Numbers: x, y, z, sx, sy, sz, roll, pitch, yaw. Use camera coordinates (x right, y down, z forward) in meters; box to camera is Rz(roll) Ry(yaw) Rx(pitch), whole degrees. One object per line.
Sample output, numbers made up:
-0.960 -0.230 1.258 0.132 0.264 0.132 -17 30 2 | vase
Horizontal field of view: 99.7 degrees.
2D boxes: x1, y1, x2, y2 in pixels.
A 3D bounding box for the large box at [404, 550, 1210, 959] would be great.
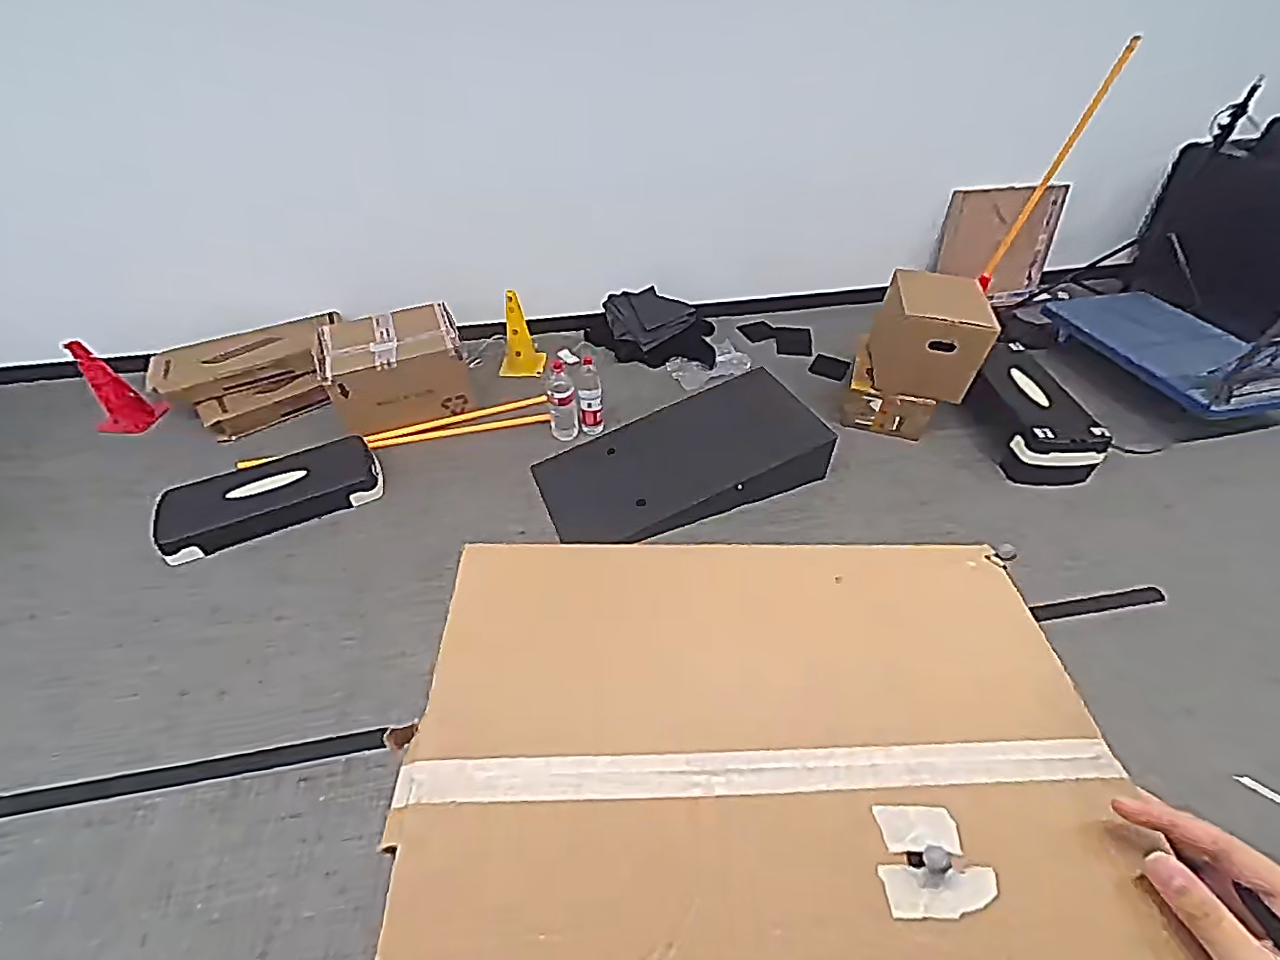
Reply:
0.070 0.268 0.427 0.408 0.320 0.320 1 48 -5 | large box
